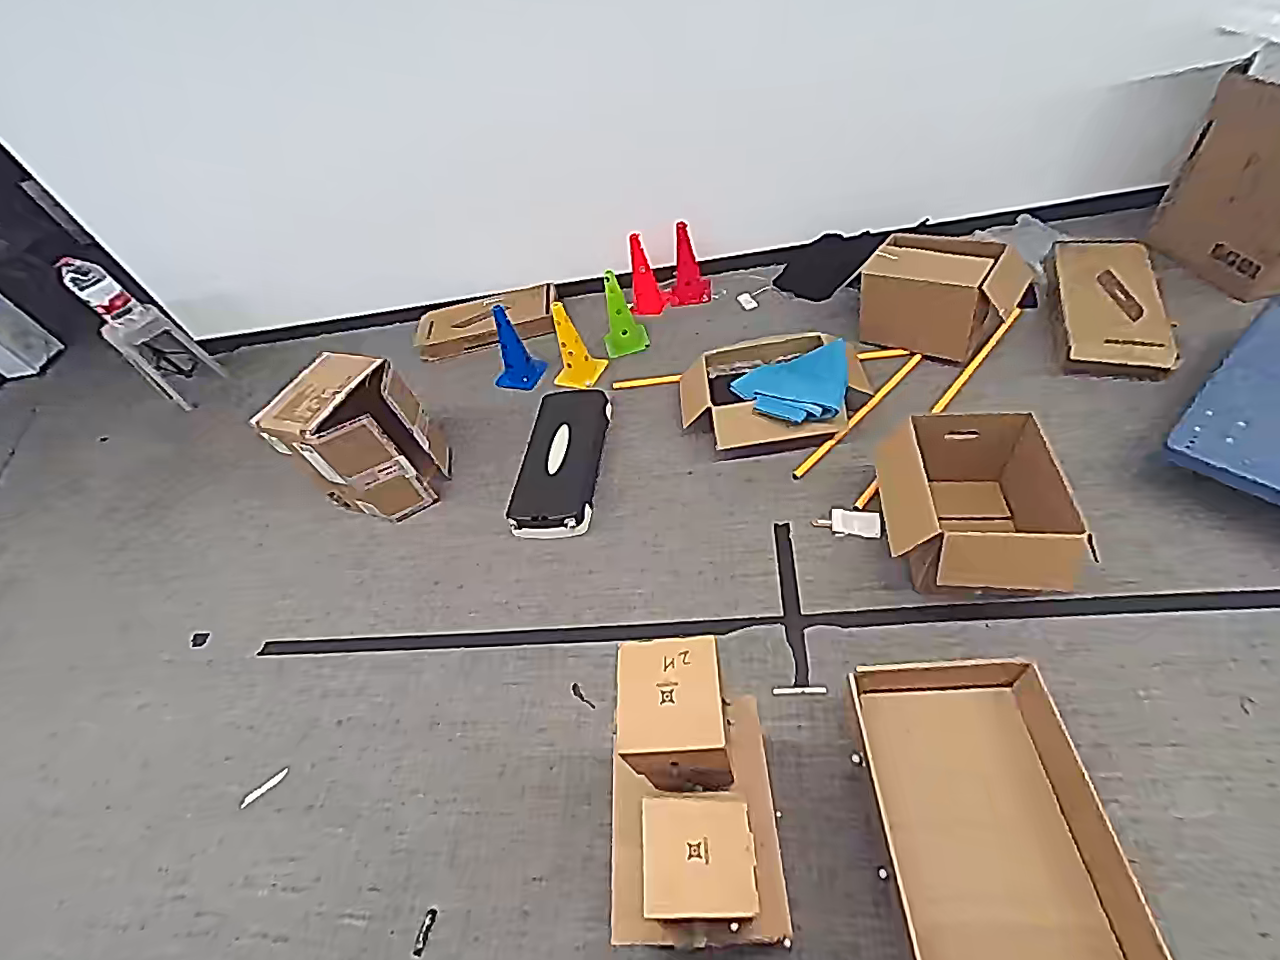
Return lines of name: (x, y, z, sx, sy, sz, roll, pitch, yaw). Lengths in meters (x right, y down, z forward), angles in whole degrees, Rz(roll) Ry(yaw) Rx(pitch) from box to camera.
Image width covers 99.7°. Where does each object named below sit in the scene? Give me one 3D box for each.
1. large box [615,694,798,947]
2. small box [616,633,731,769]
large box: (0.131, 0.718, 1.151, 0.320, 0.320, 0.408, -8, 50, 8)
small box: (0.059, 0.378, 0.911, 0.168, 0.176, 0.179, -7, 51, 8)
